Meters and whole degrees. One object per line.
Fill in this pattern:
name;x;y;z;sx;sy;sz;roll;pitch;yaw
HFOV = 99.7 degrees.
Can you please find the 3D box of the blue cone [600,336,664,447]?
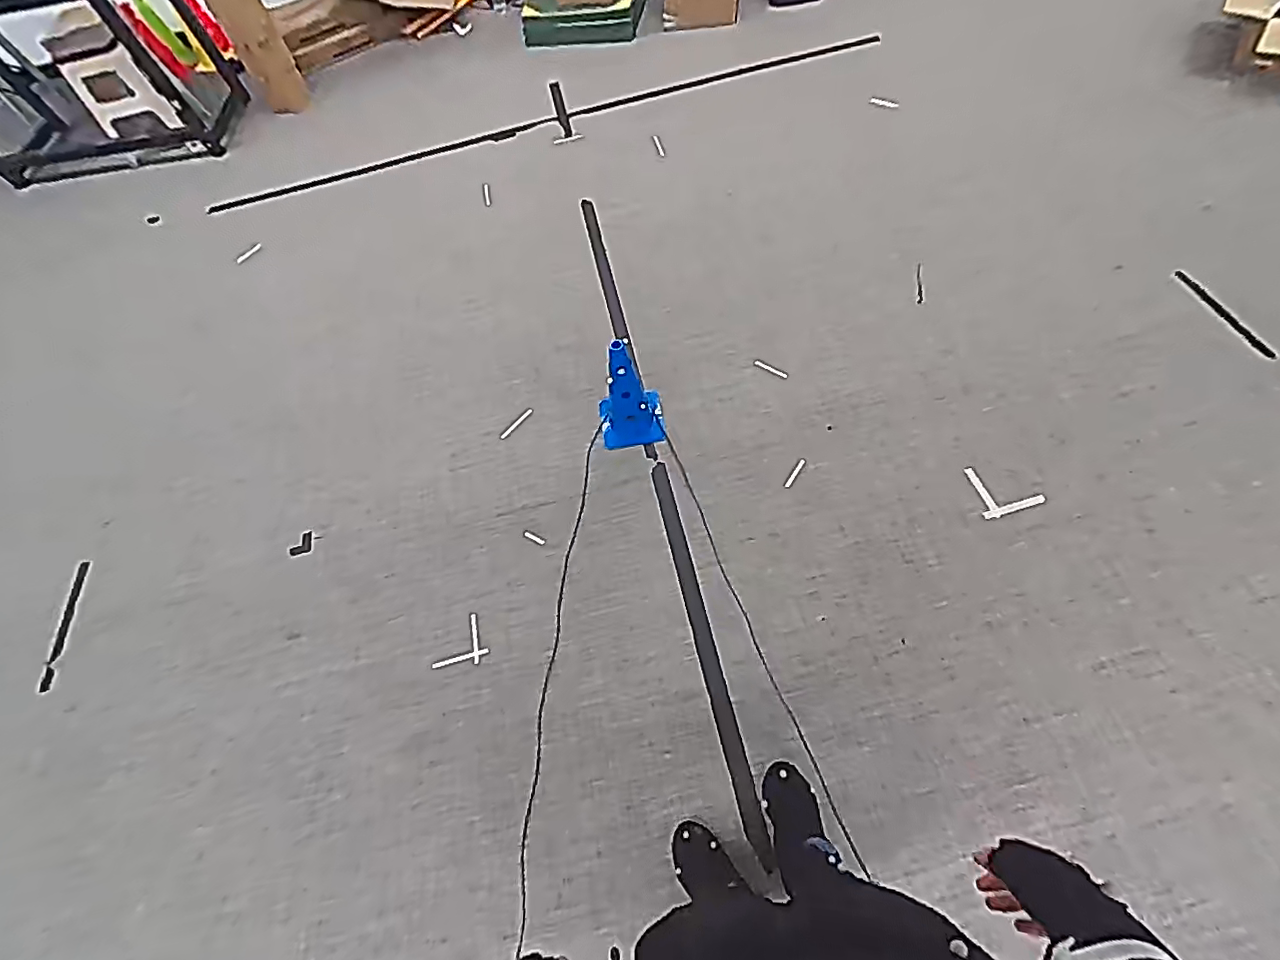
blue cone;-0.046;-0.271;1.581;0.193;0.380;0.192;-12;62;1
